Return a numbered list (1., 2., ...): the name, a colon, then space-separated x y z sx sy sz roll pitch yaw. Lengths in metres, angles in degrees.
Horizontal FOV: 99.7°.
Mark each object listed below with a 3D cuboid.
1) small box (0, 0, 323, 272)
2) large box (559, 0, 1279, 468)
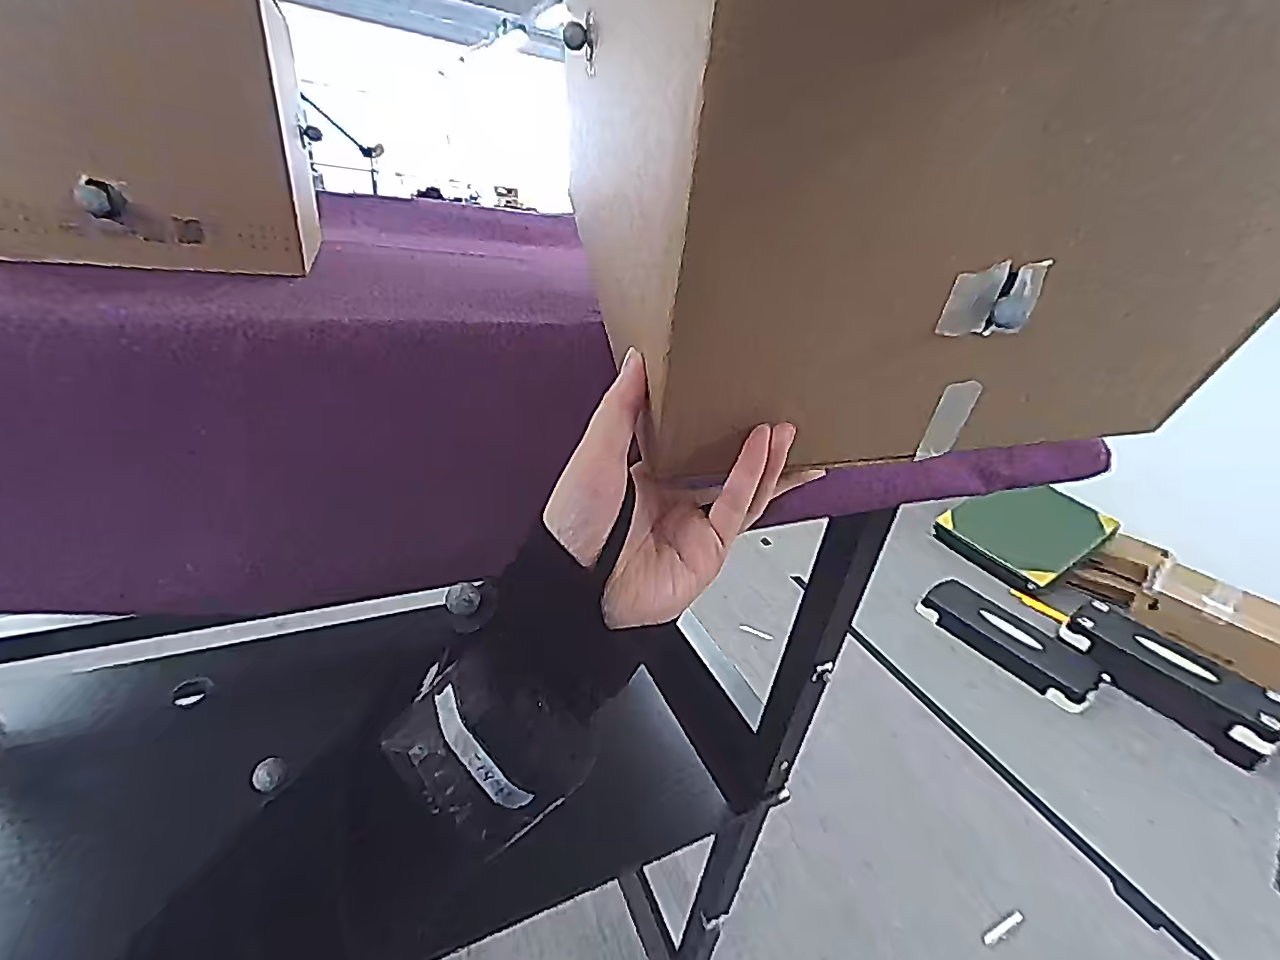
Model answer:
1. small box: -0.326 -0.251 0.371 0.168 0.176 0.179 -6 32 -23
2. large box: 0.125 -0.260 0.320 0.320 0.320 0.408 -5 45 -12
